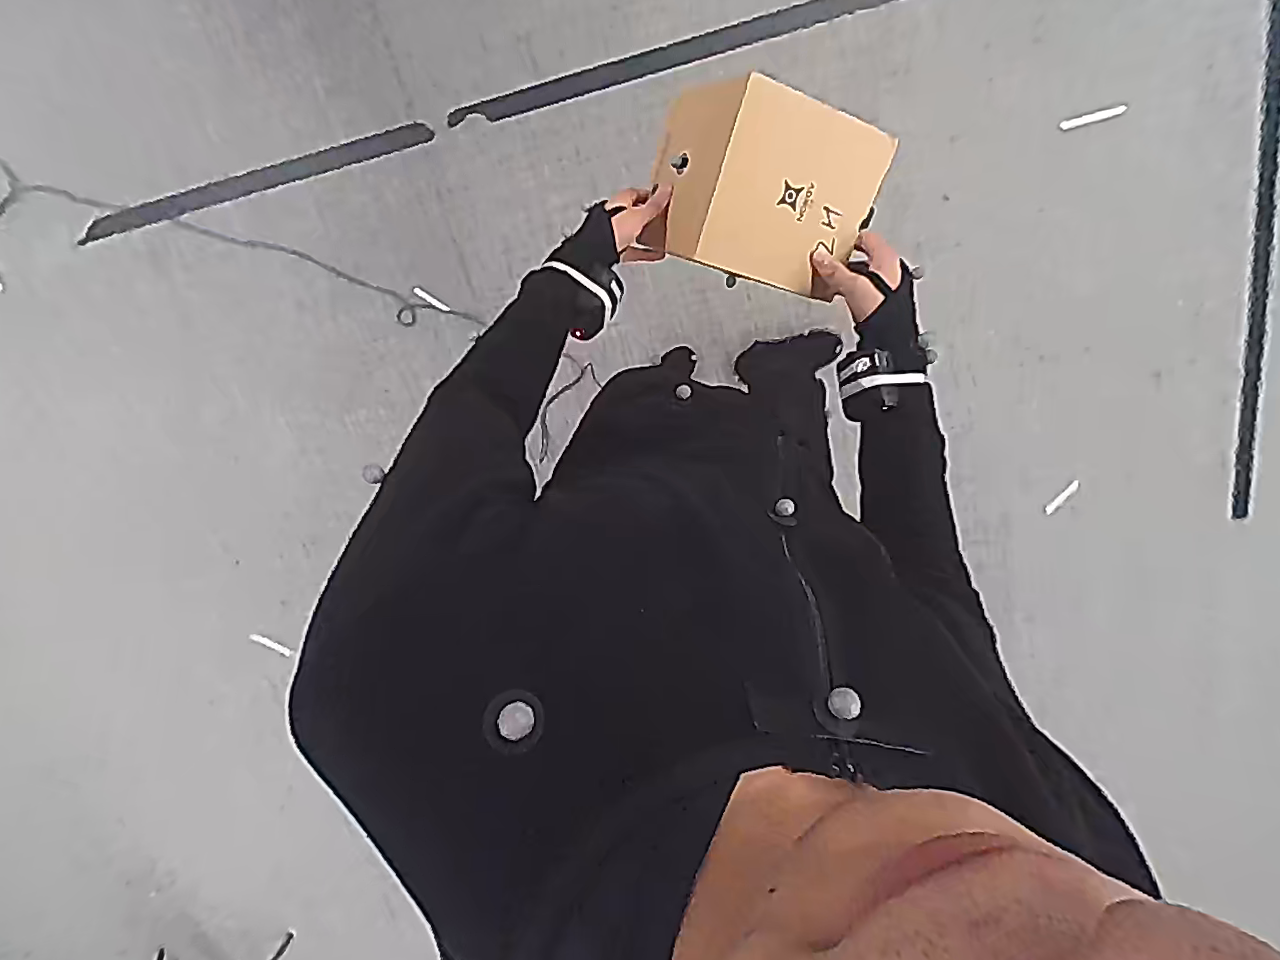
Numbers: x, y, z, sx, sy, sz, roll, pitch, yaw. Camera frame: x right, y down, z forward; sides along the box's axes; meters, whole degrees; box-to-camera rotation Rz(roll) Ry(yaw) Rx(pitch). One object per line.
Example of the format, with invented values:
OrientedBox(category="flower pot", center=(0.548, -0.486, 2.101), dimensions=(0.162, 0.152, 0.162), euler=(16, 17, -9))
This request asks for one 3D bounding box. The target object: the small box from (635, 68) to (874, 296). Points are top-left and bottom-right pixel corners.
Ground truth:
OrientedBox(category="small box", center=(0.114, -0.323, 0.612), dimensions=(0.179, 0.176, 0.168), euler=(5, 115, -28))
